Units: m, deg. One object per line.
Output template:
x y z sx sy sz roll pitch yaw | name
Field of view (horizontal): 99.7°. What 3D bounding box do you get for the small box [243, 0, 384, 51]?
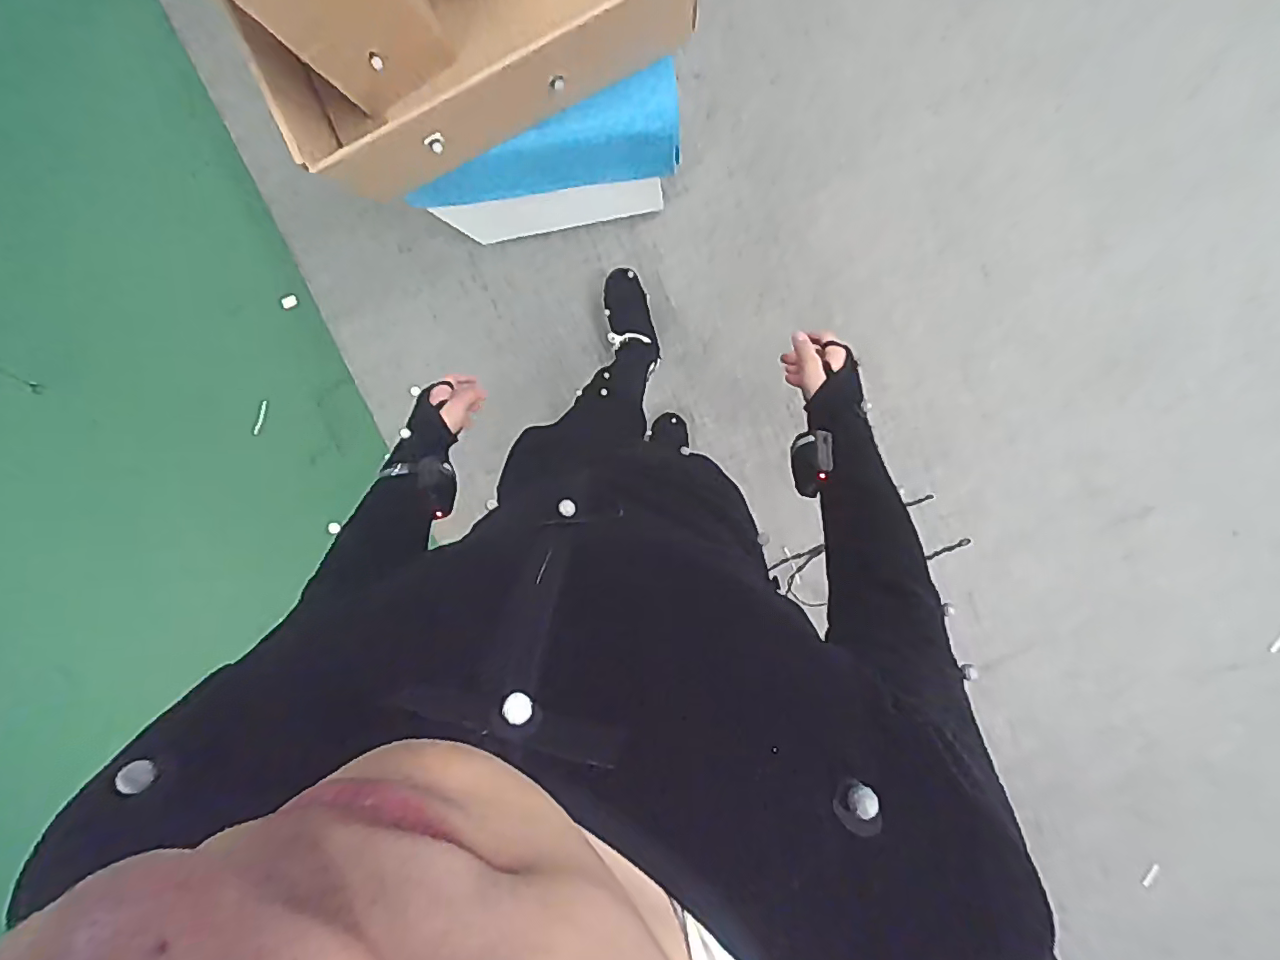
-0.412 -0.648 0.611 0.179 0.176 0.168 -27 97 9 | small box
